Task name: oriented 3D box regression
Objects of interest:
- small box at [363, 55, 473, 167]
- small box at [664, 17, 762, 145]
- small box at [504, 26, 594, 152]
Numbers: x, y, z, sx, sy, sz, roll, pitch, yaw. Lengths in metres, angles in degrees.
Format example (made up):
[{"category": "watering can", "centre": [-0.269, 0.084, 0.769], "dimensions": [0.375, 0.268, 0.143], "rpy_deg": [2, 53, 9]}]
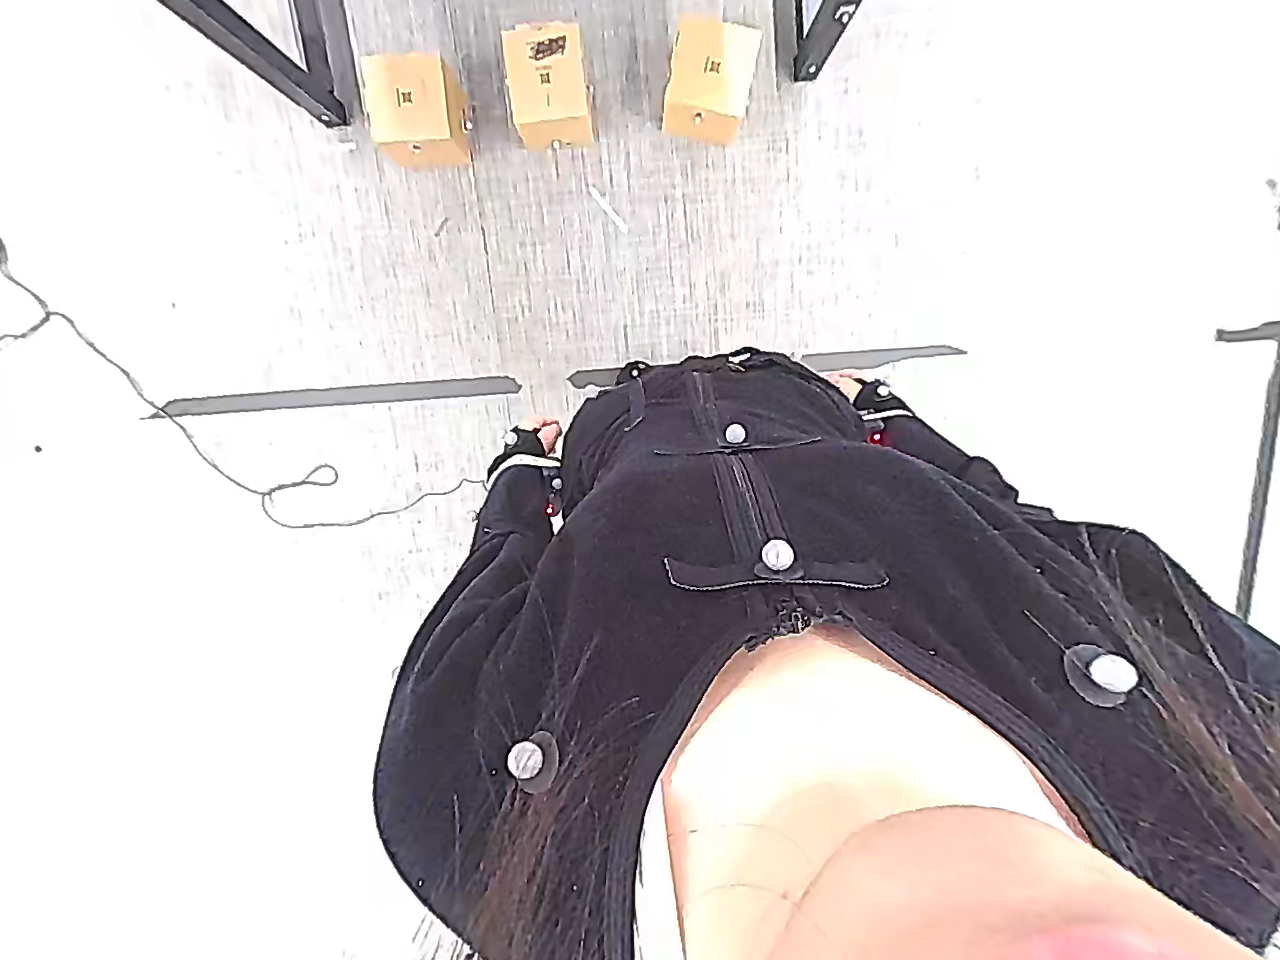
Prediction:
[{"category": "small box", "centre": [-0.501, -0.837, 1.243], "dimensions": [0.179, 0.176, 0.168], "rpy_deg": [-3, 103, 0]}, {"category": "small box", "centre": [0.158, -0.891, 1.227], "dimensions": [0.179, 0.176, 0.168], "rpy_deg": [12, 103, -1]}, {"category": "small box", "centre": [-0.199, -0.878, 1.230], "dimensions": [0.168, 0.176, 0.179], "rpy_deg": [-5, 103, 2]}]
